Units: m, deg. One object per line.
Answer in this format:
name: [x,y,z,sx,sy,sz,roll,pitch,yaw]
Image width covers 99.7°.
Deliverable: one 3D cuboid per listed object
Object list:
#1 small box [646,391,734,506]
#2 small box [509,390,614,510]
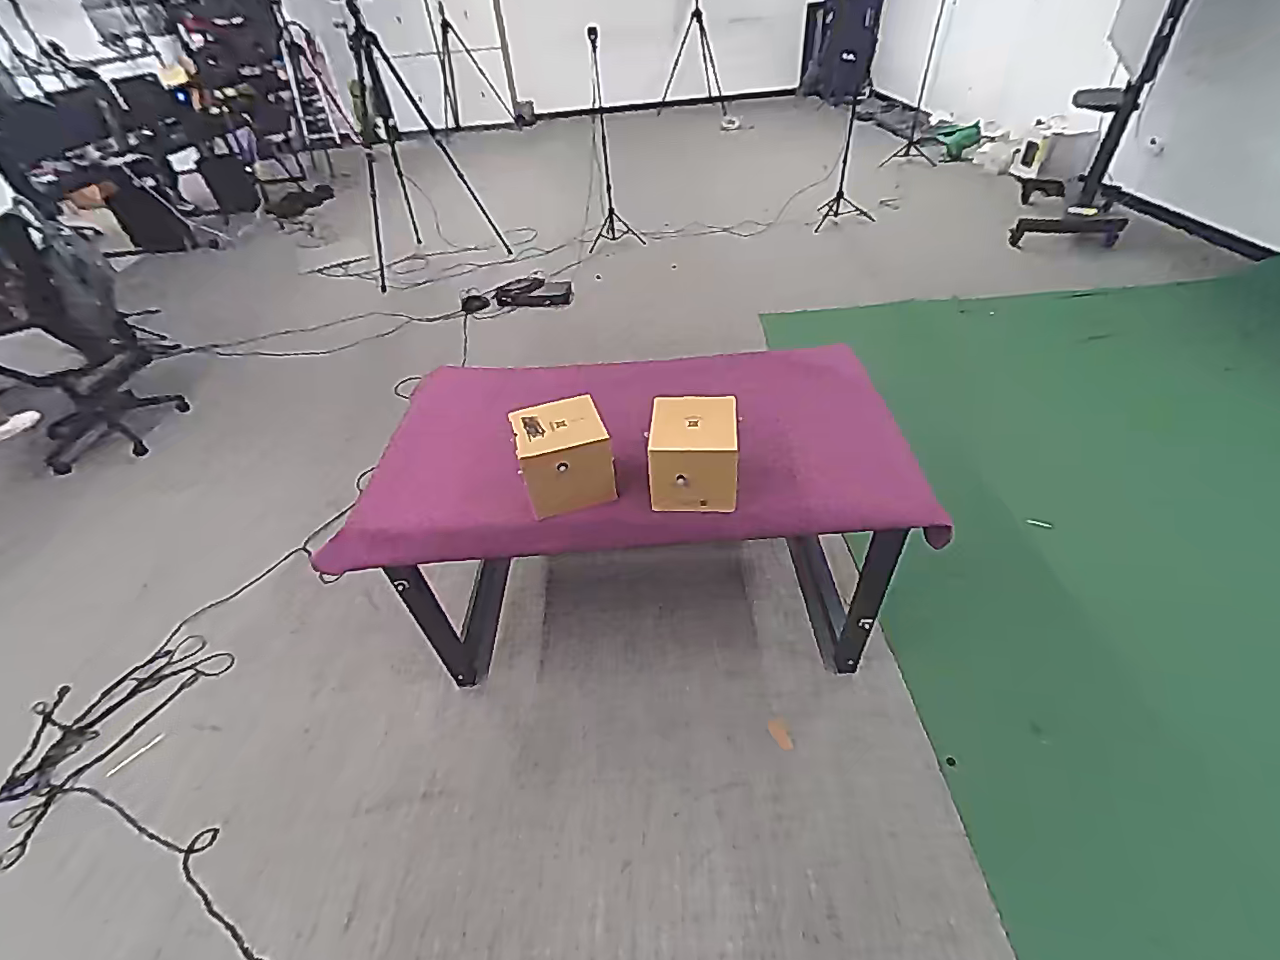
small box: [0.106,-0.062,1.099,0.168,0.176,0.179,0,42,7]
small box: [-0.161,-0.060,1.121,0.179,0.176,0.168,-14,43,-11]
